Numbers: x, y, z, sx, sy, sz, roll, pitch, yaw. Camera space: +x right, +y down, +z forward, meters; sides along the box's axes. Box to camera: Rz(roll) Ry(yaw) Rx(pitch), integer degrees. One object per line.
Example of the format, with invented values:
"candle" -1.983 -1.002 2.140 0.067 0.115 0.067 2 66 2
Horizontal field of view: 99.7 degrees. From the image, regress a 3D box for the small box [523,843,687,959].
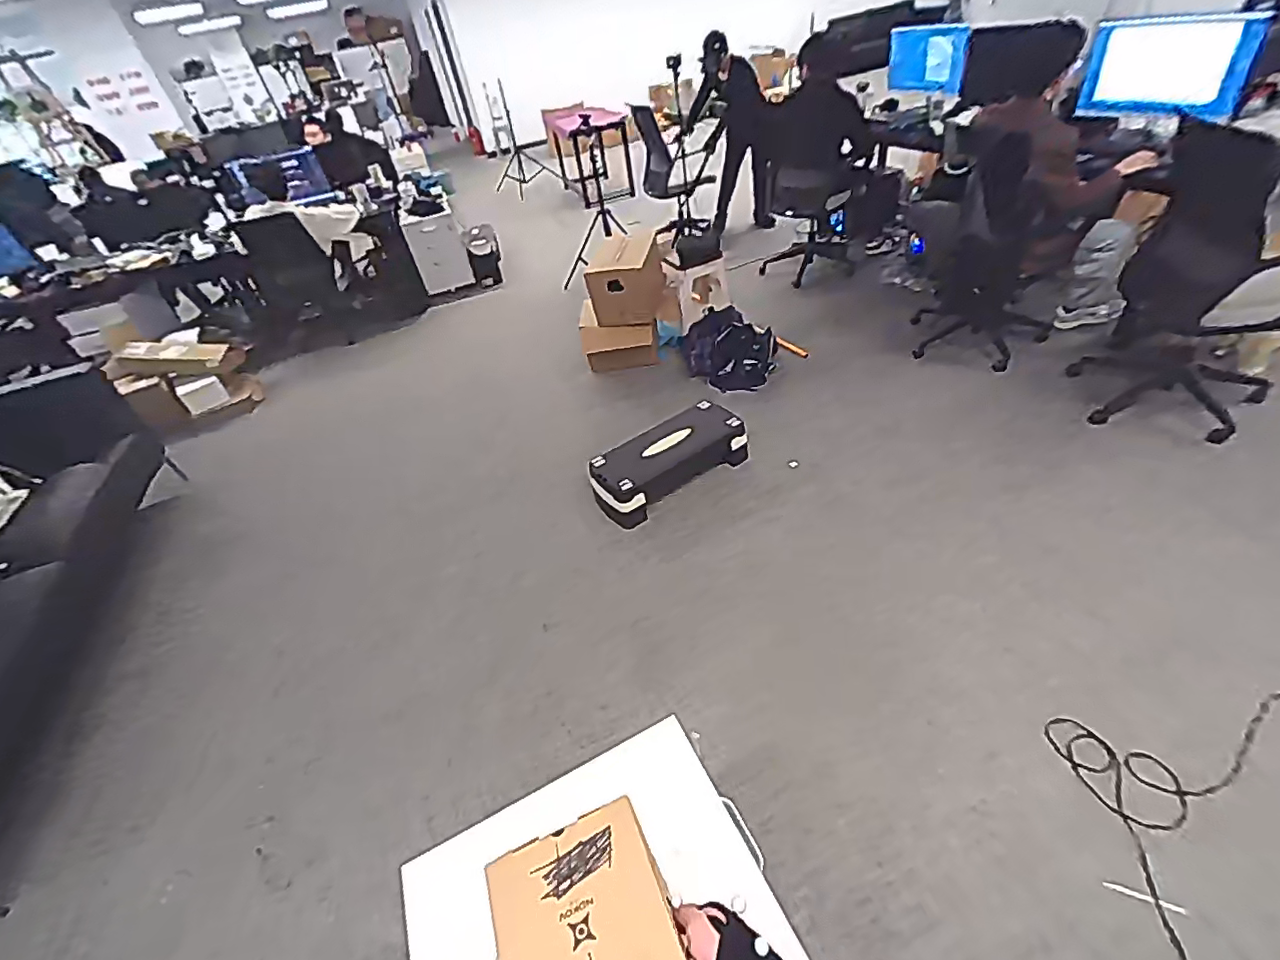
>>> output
"small box" -0.030 0.611 0.682 0.168 0.176 0.179 -20 39 -12
